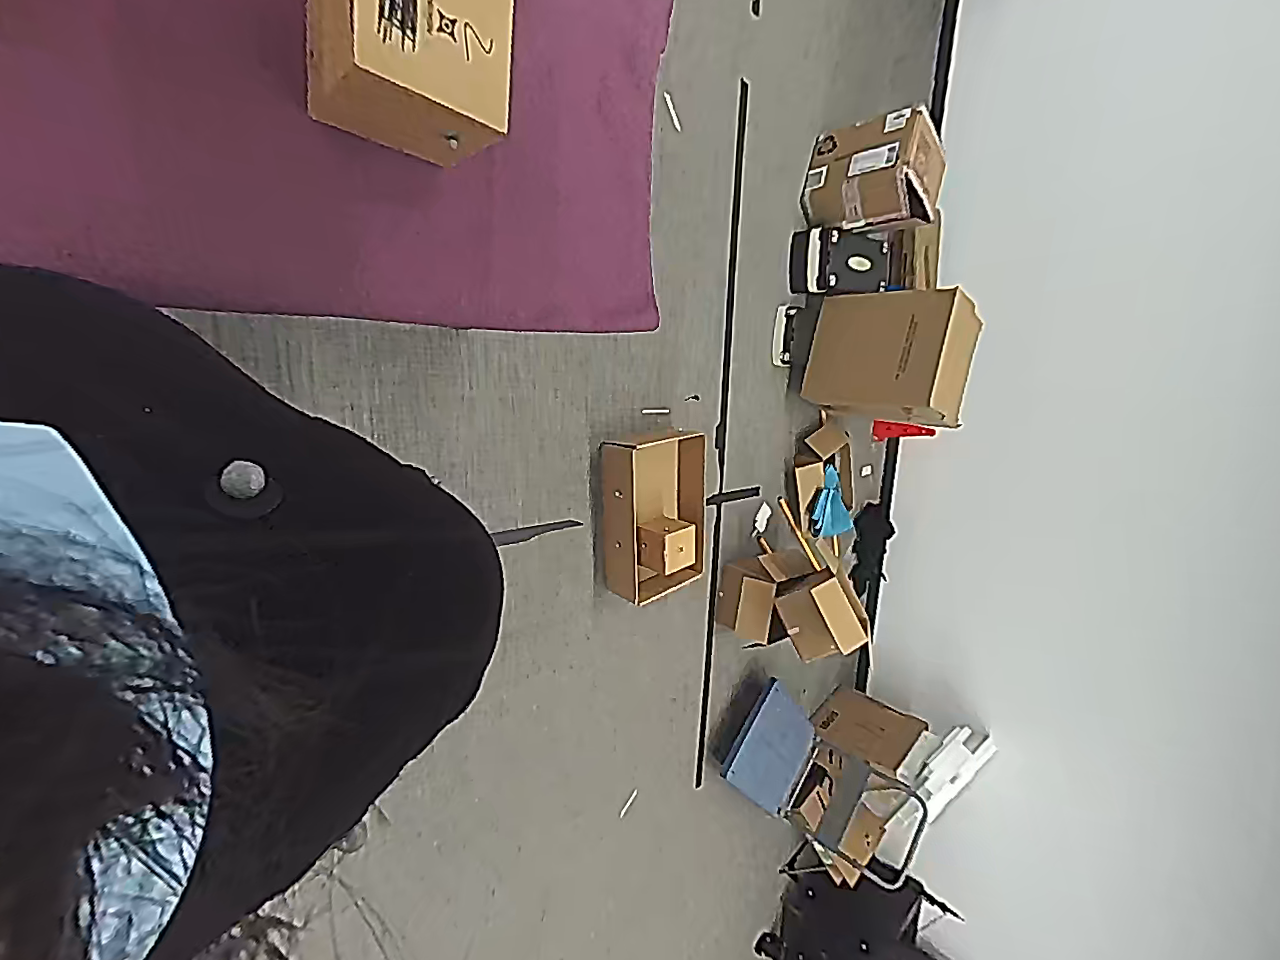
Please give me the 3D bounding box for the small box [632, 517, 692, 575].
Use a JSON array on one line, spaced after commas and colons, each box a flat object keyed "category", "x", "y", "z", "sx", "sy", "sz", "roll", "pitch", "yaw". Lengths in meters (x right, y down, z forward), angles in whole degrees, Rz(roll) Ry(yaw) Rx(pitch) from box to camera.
[{"category": "small box", "x": 0.088, "y": 0.256, "z": 2.151, "sx": 0.179, "sy": 0.176, "sz": 0.168, "roll": -14, "pitch": 109, "yaw": -42}]
